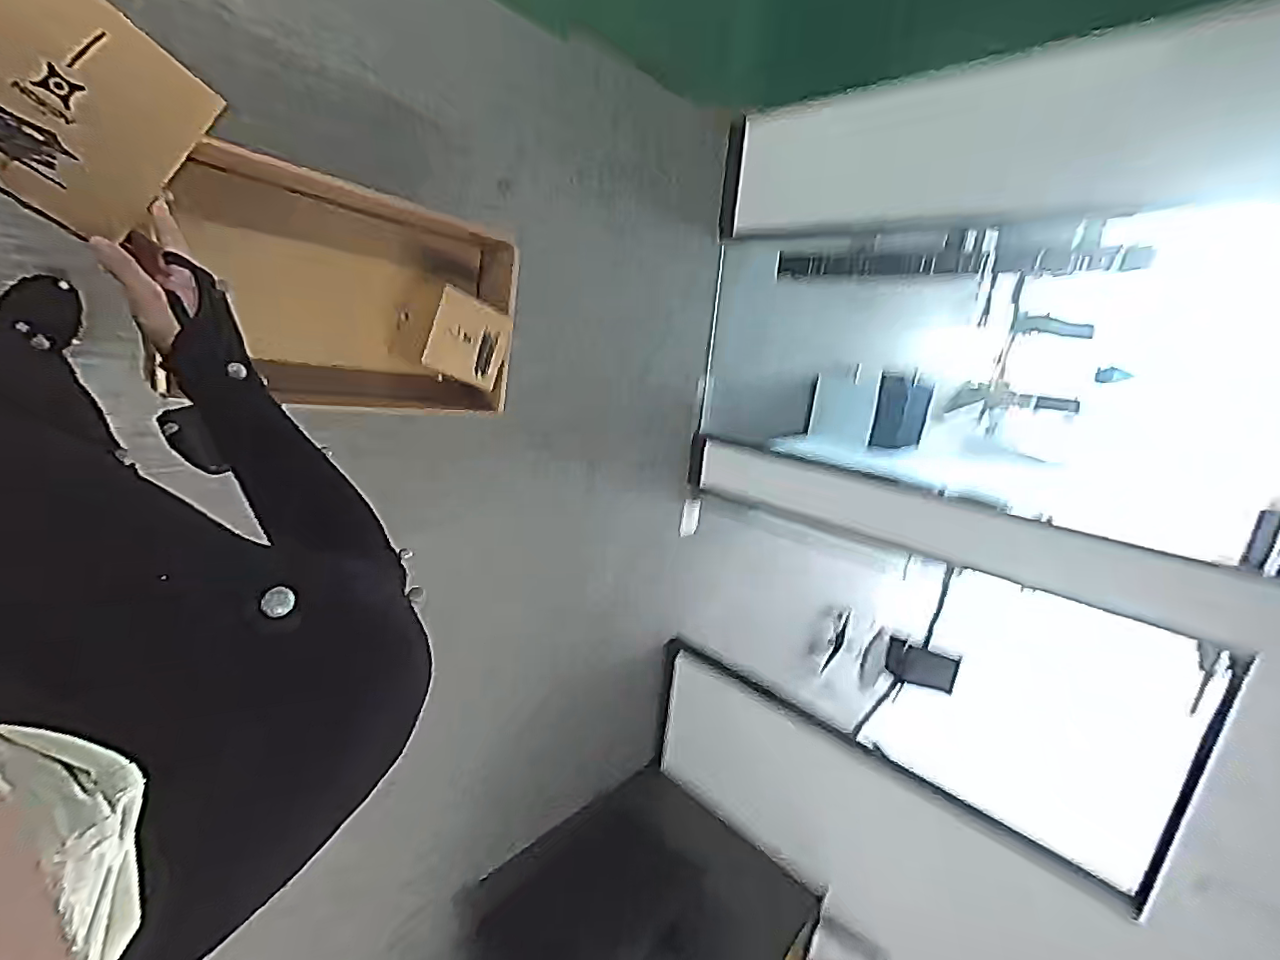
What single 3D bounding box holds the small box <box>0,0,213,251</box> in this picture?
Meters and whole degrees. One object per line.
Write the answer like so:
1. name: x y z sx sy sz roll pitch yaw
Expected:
1. small box: -0.522 -0.330 0.469 0.179 0.176 0.168 -59 141 -5
